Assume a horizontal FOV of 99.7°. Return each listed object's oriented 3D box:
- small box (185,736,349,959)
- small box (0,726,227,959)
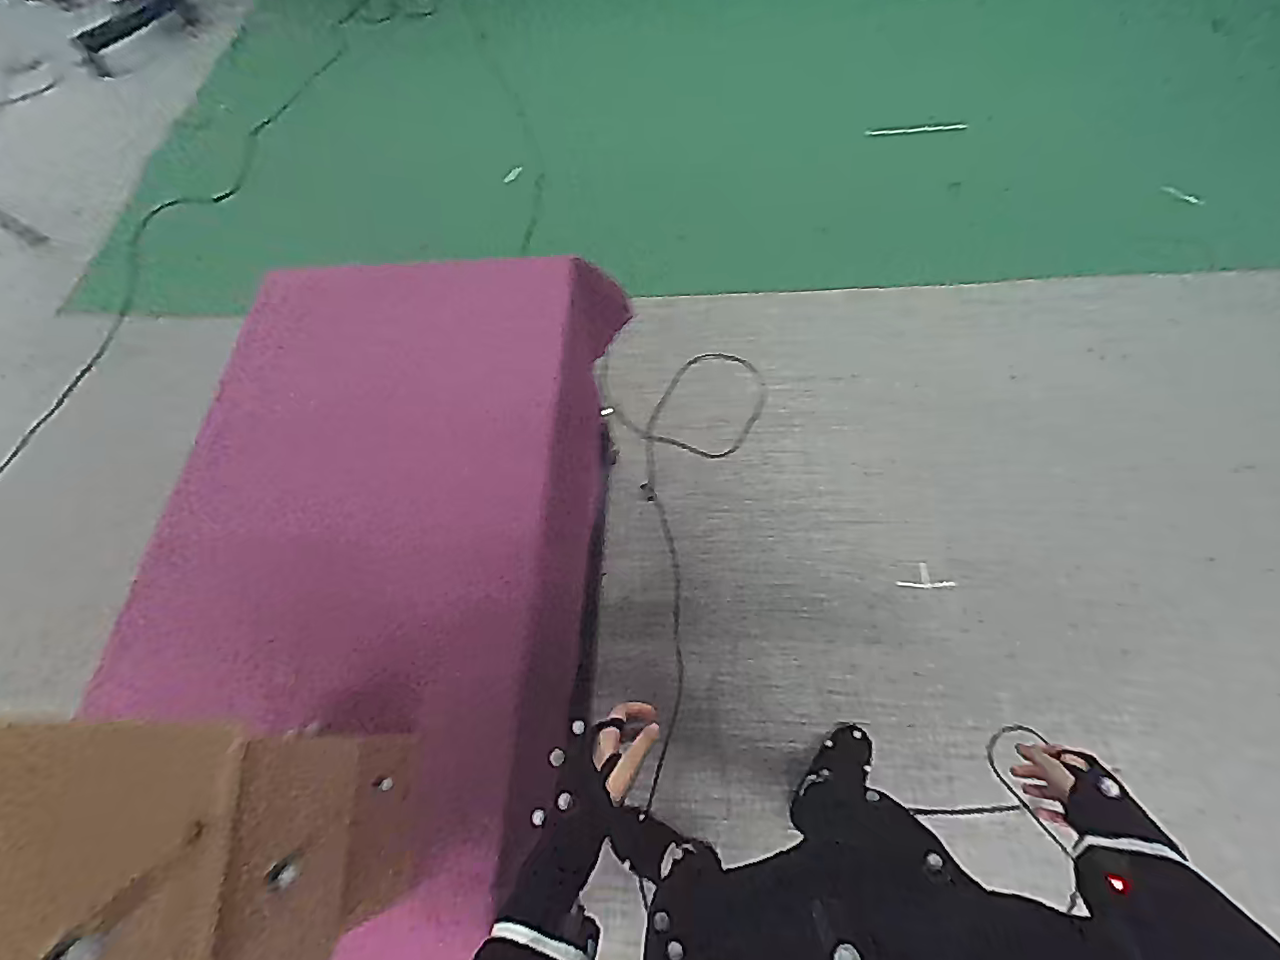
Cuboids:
[{"bbox_3d":[-0.357,0.302,0.420,0.168,0.176,0.179,-7,65,3],"label":"small box"},{"bbox_3d":[-0.363,0.227,0.276,0.179,0.176,0.168,-11,64,2],"label":"small box"}]
